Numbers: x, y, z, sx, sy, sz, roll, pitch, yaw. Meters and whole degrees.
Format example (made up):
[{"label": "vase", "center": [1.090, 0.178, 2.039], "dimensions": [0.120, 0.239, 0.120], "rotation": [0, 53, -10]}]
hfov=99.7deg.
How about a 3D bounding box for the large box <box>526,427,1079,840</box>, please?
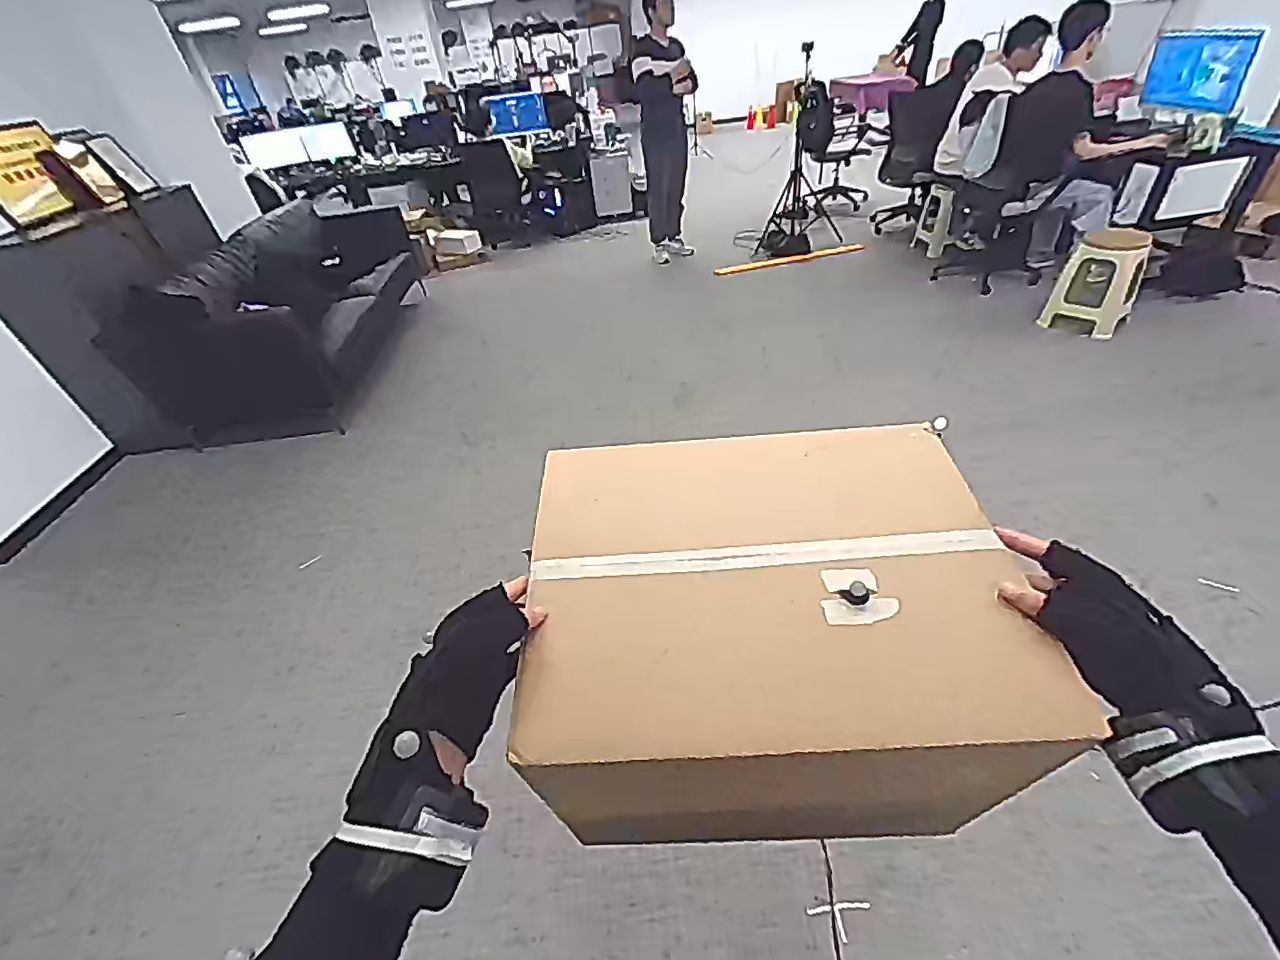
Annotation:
[{"label": "large box", "center": [0.119, 0.173, 0.592], "dimensions": [0.408, 0.320, 0.320], "rotation": [-5, 48, 3]}]
